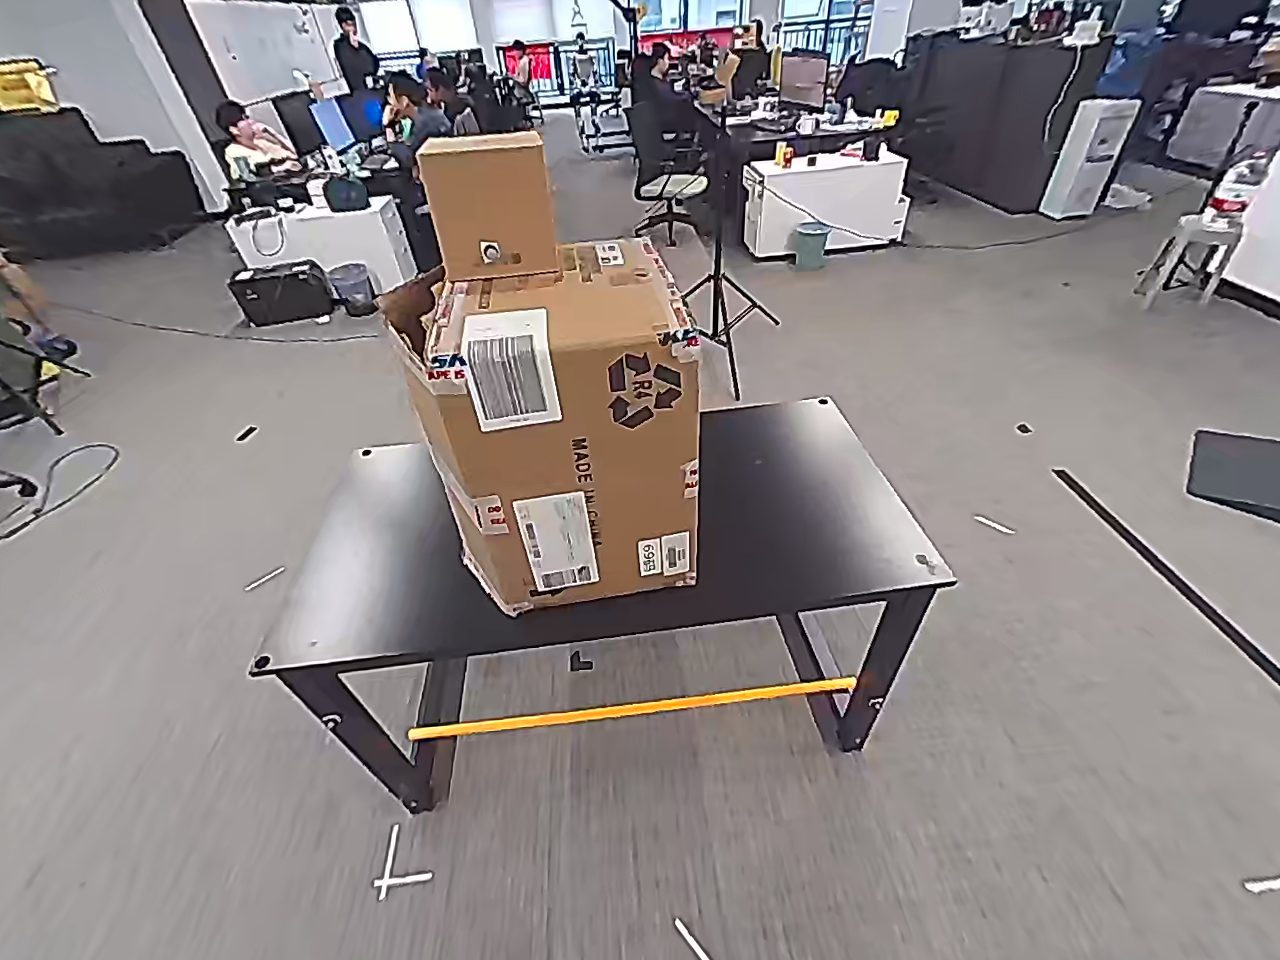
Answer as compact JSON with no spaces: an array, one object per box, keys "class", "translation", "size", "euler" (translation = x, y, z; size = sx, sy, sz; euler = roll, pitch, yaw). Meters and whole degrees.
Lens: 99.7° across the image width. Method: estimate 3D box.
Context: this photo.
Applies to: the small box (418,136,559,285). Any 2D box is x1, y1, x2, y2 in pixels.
[{"class":"small box","translation":[-0.222,-0.412,0.823],"size":[0.168,0.176,0.179],"euler":[-10,40,-8]}]
